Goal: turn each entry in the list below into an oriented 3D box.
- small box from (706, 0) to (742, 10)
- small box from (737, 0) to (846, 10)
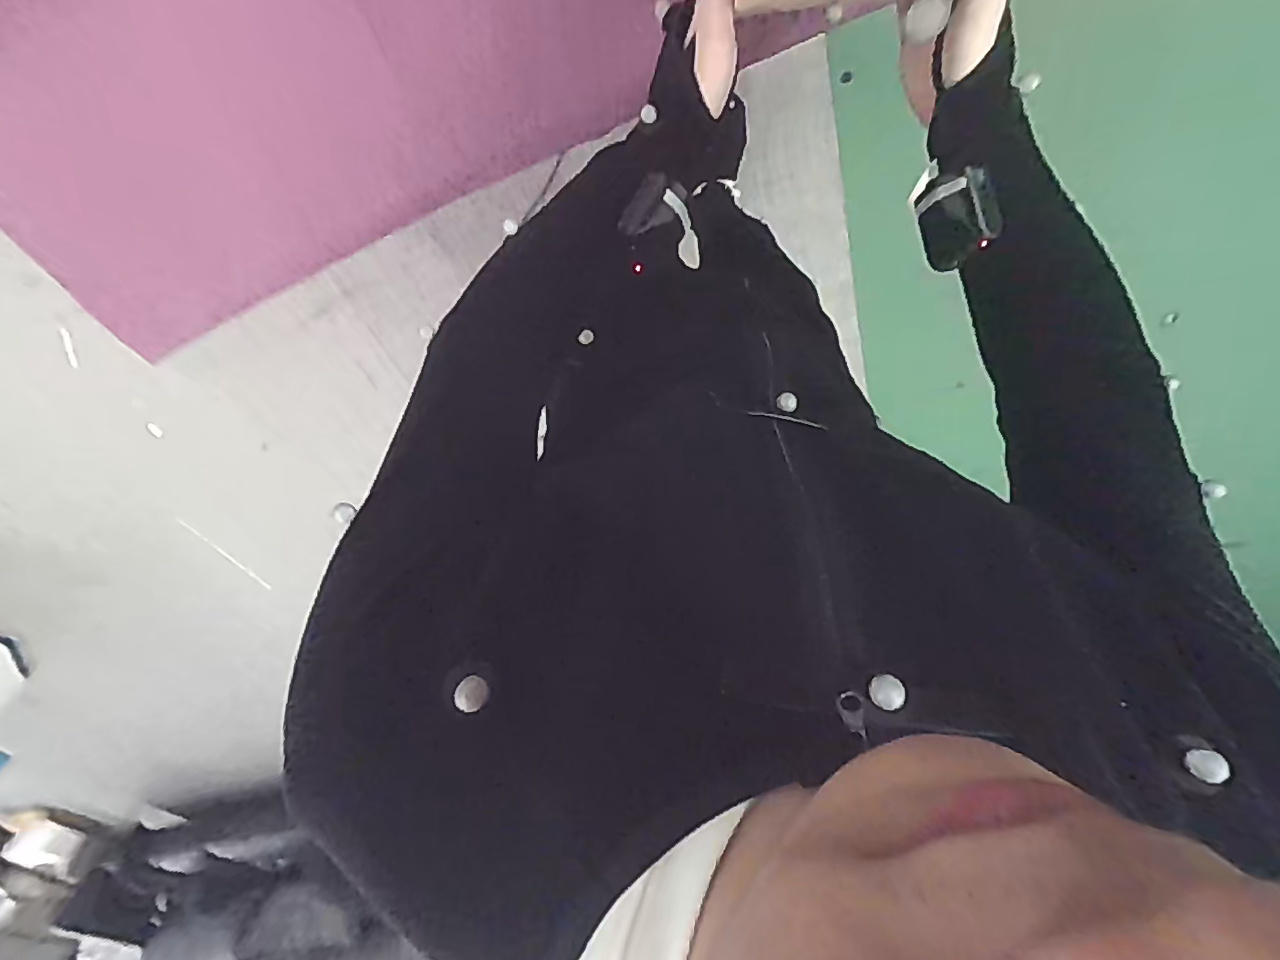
[{"bbox_3d":[0.135,-0.492,0.423,0.168,0.176,0.179,-4,130,1],"label":"small box"},{"bbox_3d":[0.141,-0.386,0.300,0.168,0.176,0.179,-5,131,1],"label":"small box"}]
